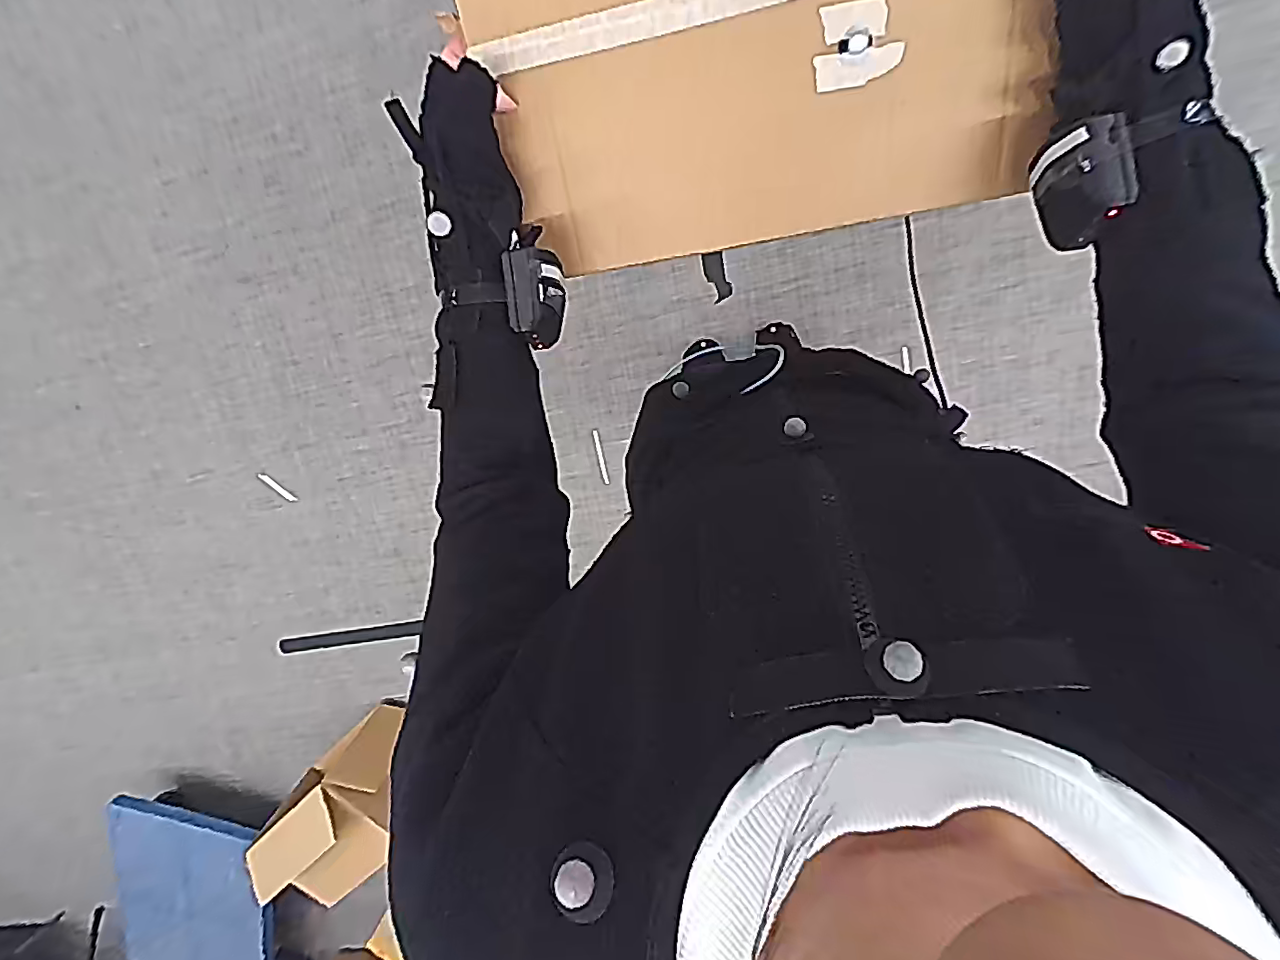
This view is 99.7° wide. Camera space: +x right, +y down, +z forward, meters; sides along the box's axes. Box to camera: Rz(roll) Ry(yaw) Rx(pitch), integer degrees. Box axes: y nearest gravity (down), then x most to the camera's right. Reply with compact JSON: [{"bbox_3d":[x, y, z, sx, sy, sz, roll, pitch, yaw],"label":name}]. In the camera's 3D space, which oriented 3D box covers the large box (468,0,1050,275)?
[{"bbox_3d":[0.087,-0.403,0.513,0.408,0.320,0.320,-8,115,9],"label":"large box"}]
